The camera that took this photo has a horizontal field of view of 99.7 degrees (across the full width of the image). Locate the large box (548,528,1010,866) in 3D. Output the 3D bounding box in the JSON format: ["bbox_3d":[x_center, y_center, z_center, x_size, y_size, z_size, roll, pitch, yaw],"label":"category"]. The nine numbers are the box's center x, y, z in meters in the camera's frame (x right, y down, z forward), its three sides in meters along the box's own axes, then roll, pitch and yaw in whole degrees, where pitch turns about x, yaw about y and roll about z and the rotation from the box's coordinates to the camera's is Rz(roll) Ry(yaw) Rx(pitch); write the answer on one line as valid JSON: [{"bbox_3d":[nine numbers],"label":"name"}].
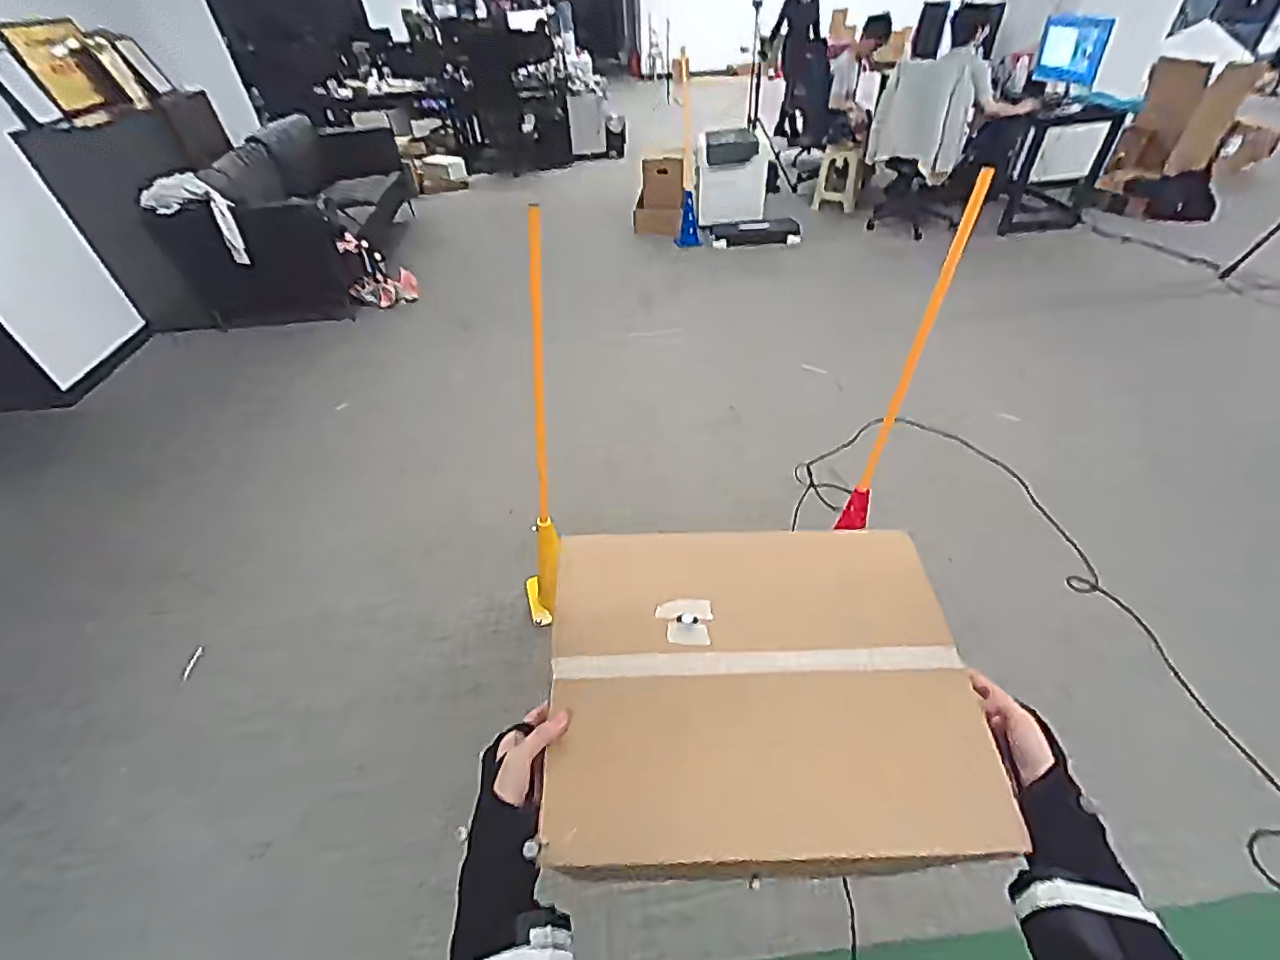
[{"bbox_3d":[0.119,0.275,0.664,0.408,0.320,0.320,-2,51,0],"label":"large box"}]
